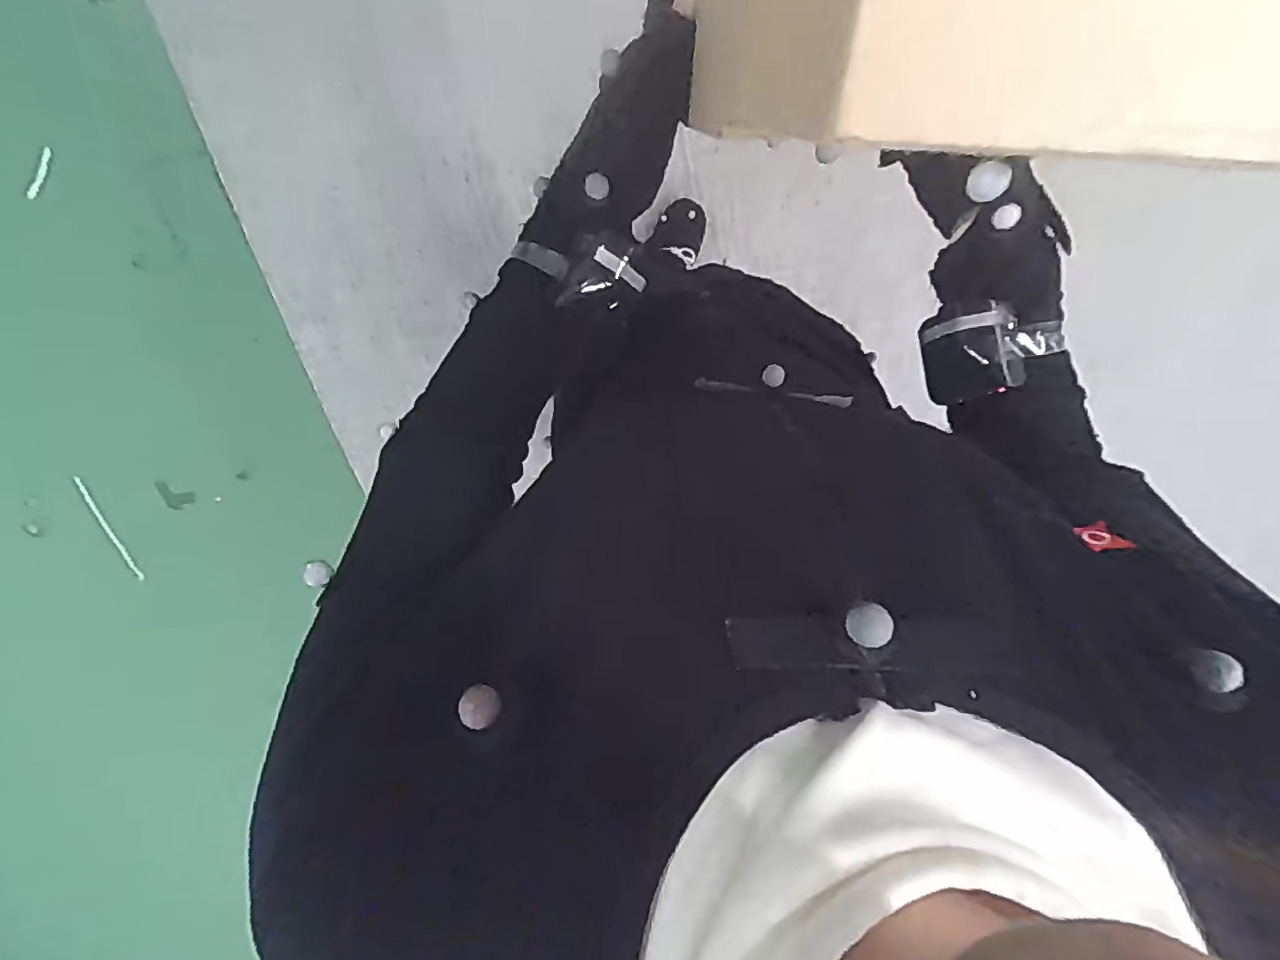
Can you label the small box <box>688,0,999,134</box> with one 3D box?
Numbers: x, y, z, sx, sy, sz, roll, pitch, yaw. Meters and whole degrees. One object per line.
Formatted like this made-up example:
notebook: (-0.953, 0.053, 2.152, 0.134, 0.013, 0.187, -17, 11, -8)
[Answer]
small box: (0.115, -0.281, 0.266, 0.168, 0.176, 0.179, -1, 126, -2)
